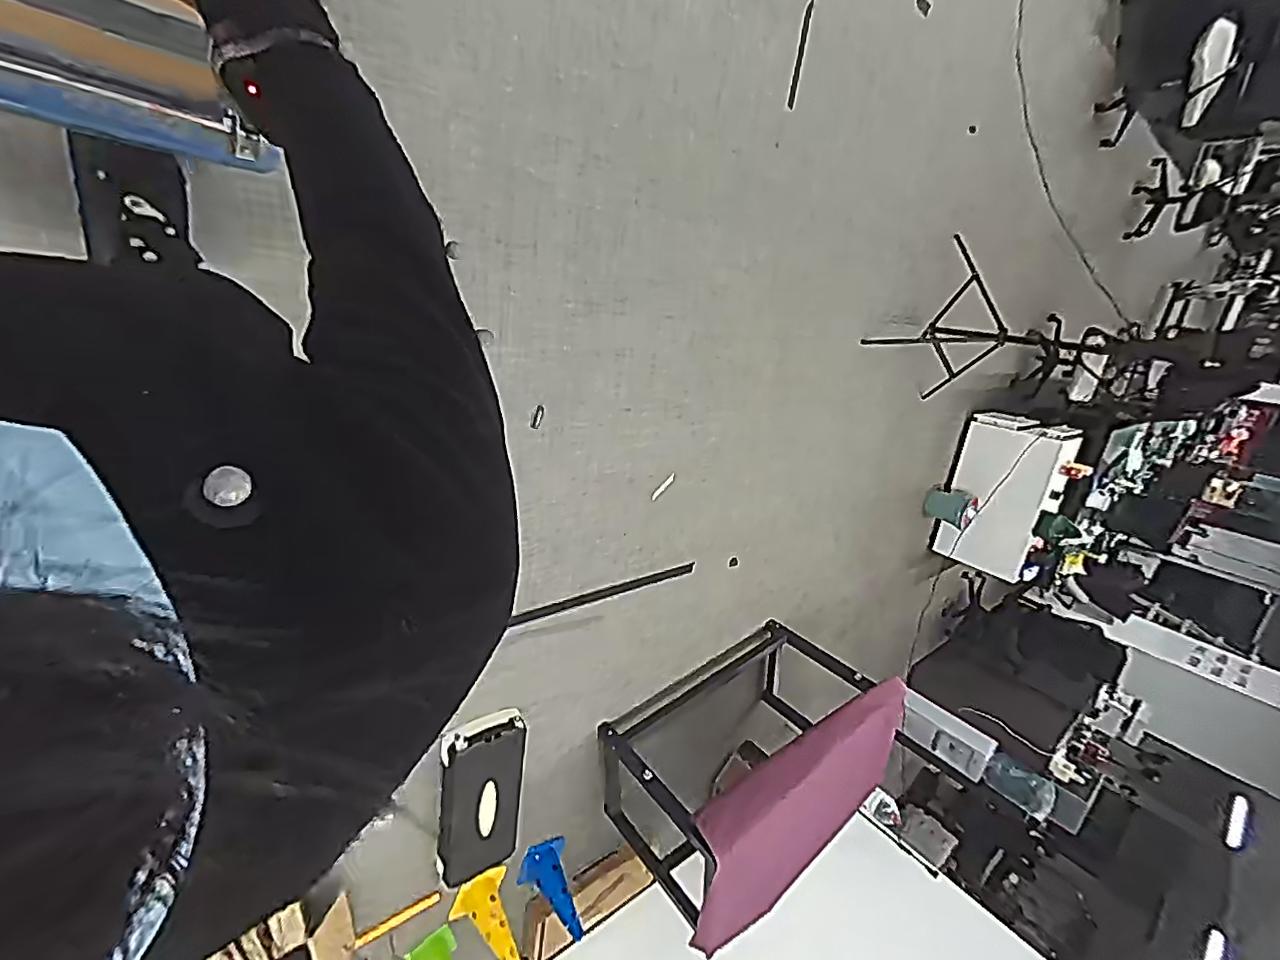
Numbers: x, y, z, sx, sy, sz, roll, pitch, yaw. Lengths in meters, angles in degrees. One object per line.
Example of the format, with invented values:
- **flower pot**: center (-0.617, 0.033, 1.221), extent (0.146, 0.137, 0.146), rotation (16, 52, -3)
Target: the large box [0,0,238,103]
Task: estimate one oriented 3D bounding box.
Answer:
- **large box**: center (-0.739, -0.716, 0.630), extent (0.408, 0.320, 0.320), rotation (-4, 110, -41)
